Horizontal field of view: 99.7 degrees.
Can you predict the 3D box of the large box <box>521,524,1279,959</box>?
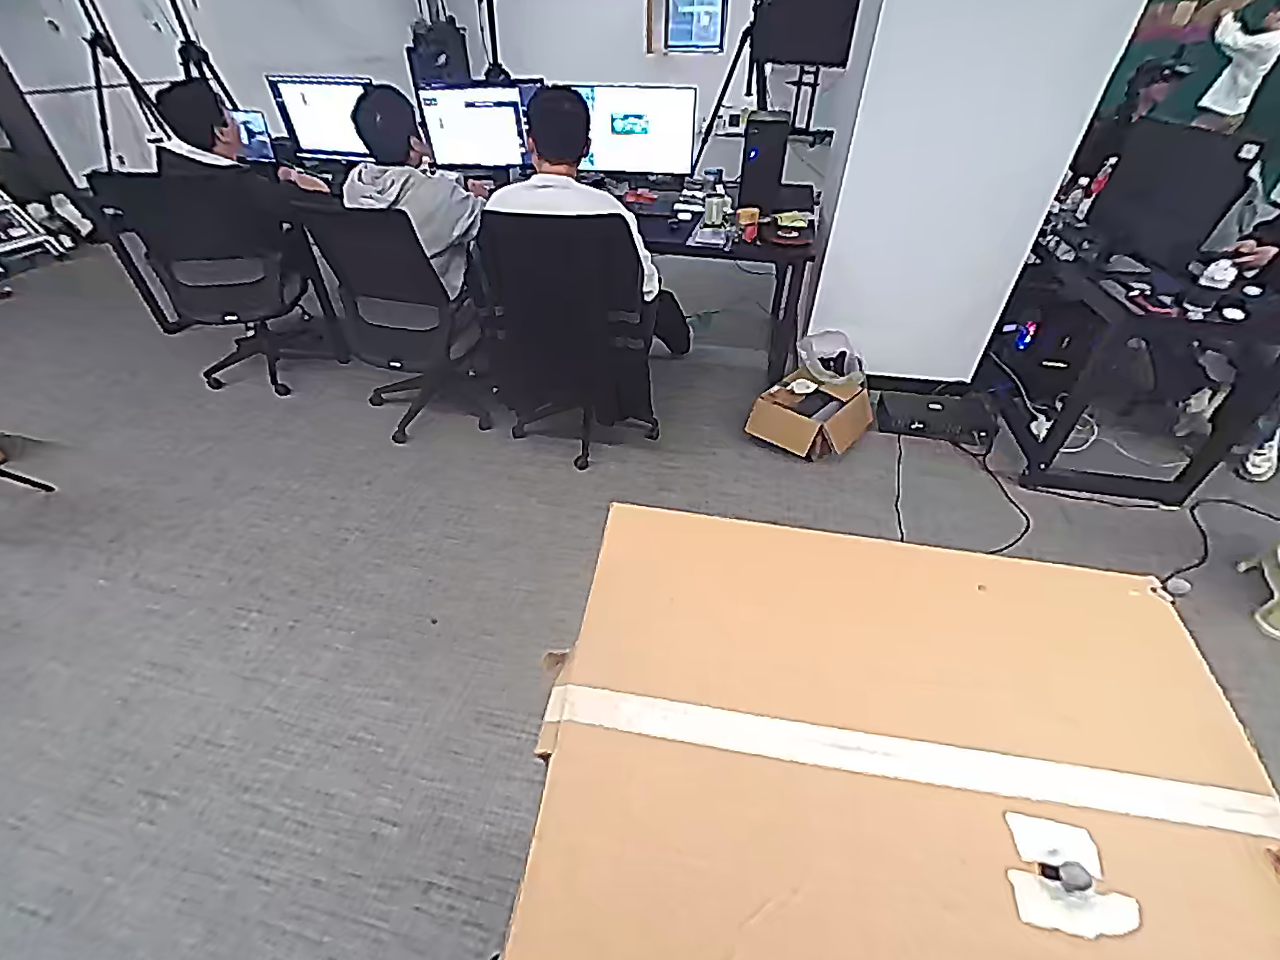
[{"bbox_3d":[0.146,0.268,0.431,0.408,0.320,0.320,8,50,4],"label":"large box"}]
